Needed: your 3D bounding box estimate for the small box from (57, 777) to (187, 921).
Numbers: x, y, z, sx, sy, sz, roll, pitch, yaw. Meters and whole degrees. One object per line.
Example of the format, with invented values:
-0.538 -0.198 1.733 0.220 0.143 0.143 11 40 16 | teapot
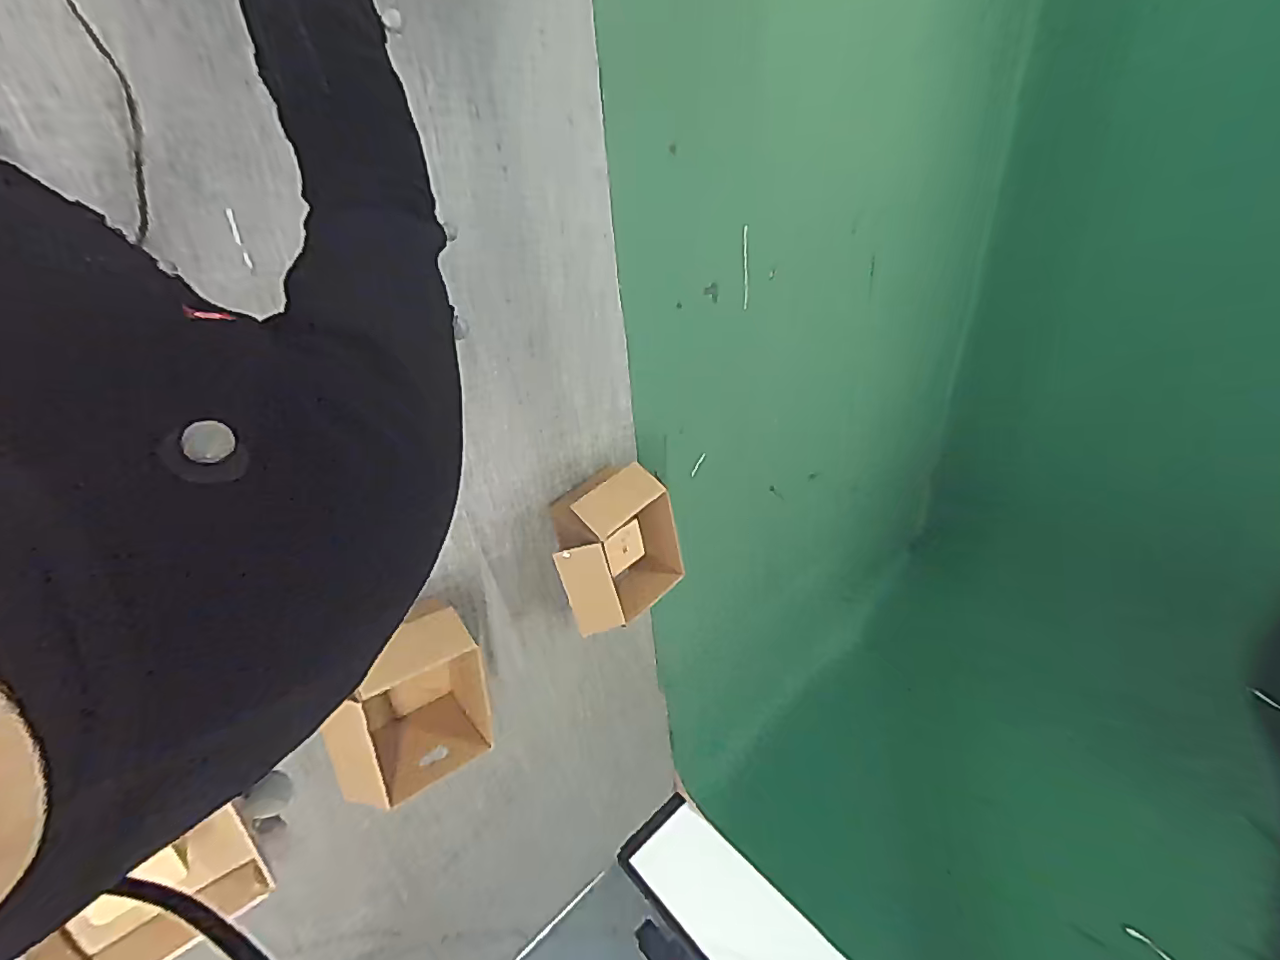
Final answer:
-1.168 0.828 1.230 0.168 0.176 0.179 -22 123 -35 | small box
